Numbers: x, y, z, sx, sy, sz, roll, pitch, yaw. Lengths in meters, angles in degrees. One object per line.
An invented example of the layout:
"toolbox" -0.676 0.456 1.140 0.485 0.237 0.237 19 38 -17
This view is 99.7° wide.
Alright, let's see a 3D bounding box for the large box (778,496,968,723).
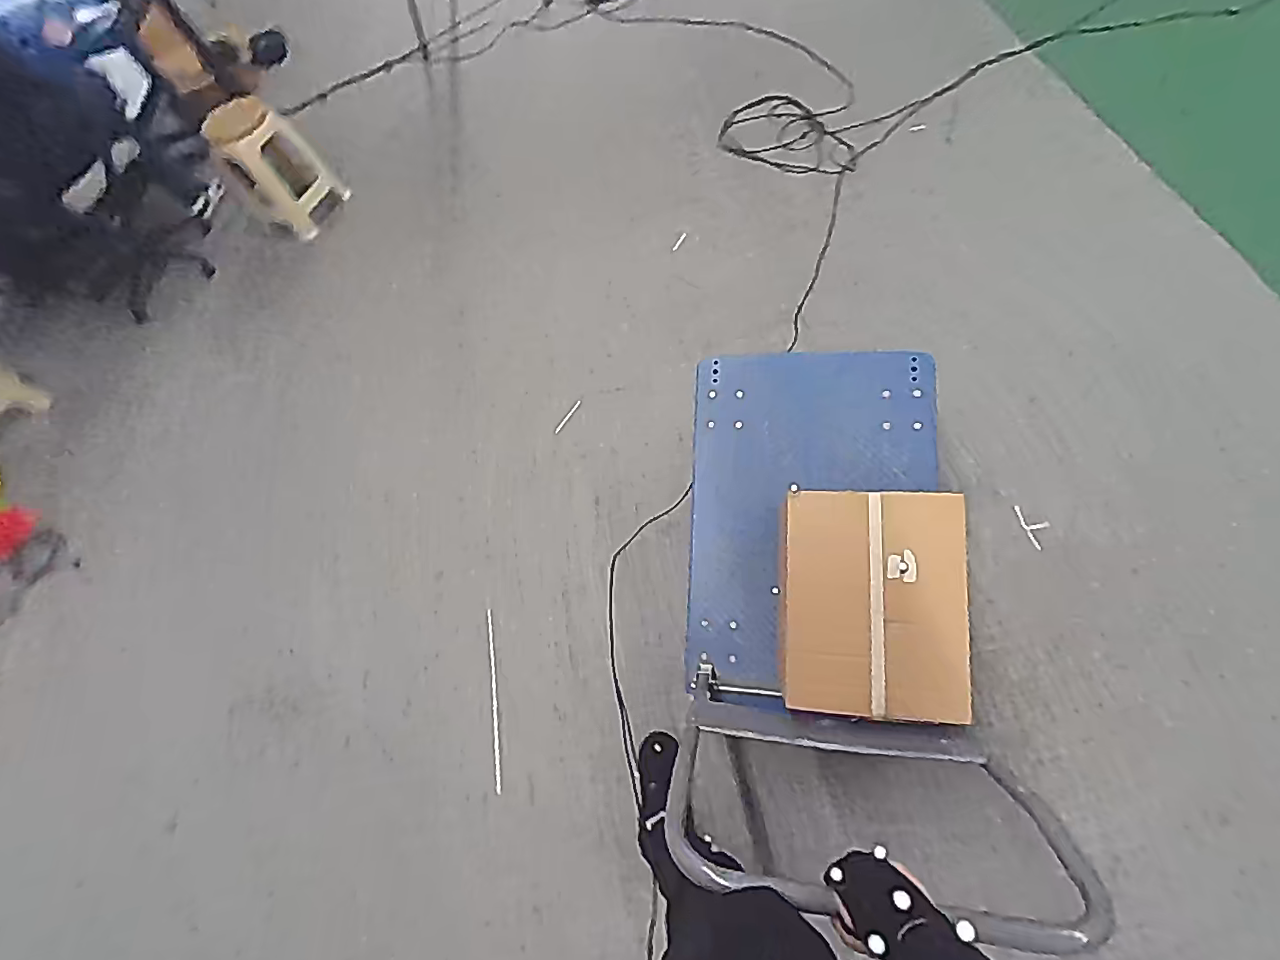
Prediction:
"large box" 0.456 0.252 1.141 0.320 0.320 0.408 1 82 10
